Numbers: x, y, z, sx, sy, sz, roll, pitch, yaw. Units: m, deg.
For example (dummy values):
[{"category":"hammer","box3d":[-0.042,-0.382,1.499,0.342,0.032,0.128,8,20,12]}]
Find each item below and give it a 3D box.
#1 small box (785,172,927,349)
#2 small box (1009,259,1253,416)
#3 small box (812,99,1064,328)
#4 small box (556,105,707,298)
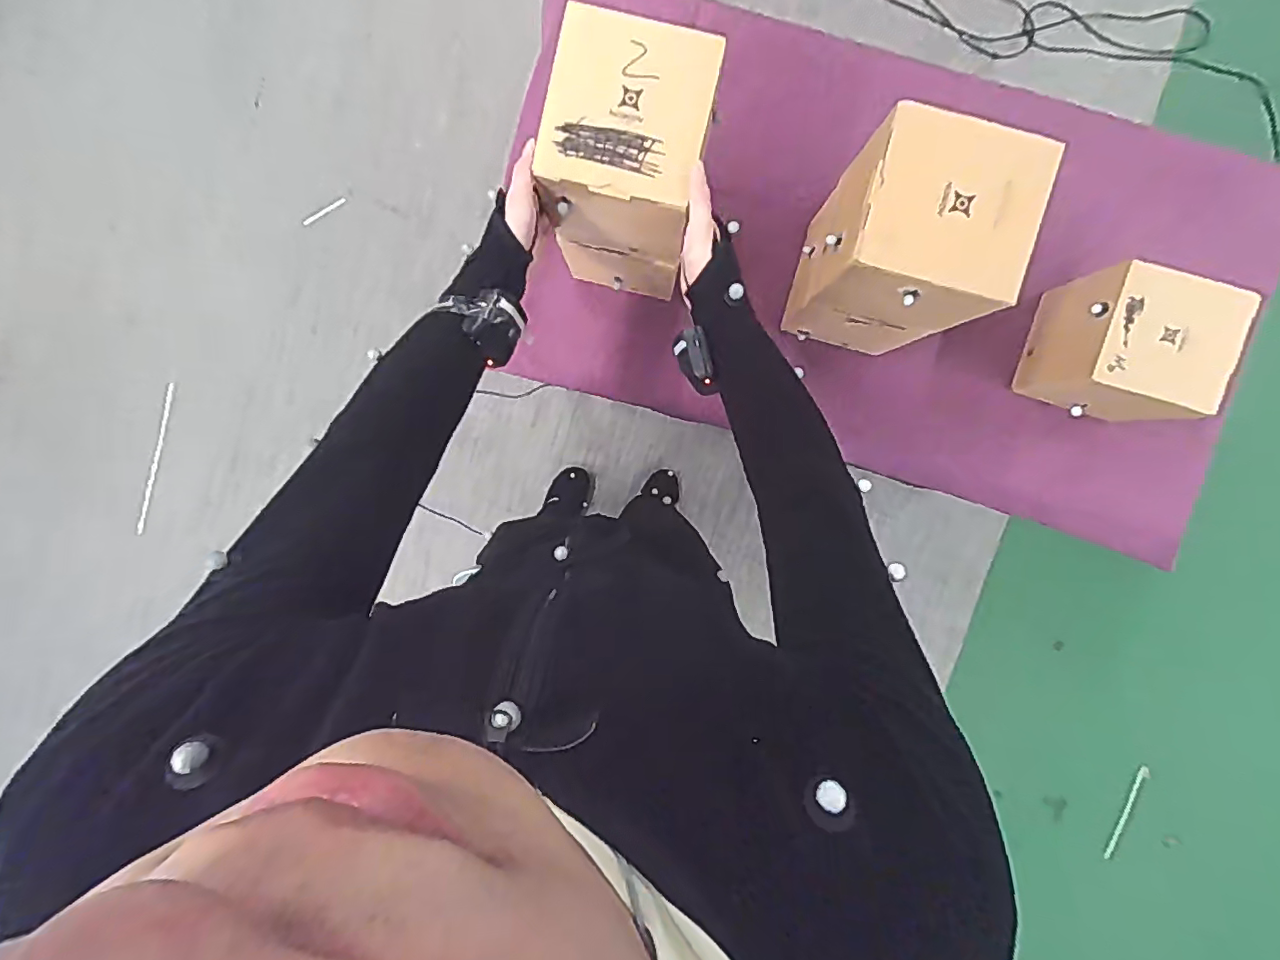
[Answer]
[{"category":"small box","box3d":[0.324,-0.302,0.788,0.168,0.176,0.179,15,94,-1]},{"category":"small box","box3d":[0.700,-0.195,0.792,0.179,0.176,0.168,16,94,-1]},{"category":"small box","box3d":[0.321,-0.287,0.625,0.179,0.176,0.168,15,95,-2]},{"category":"small box","box3d":[-0.012,-0.387,0.782,0.168,0.176,0.179,14,94,0]}]
